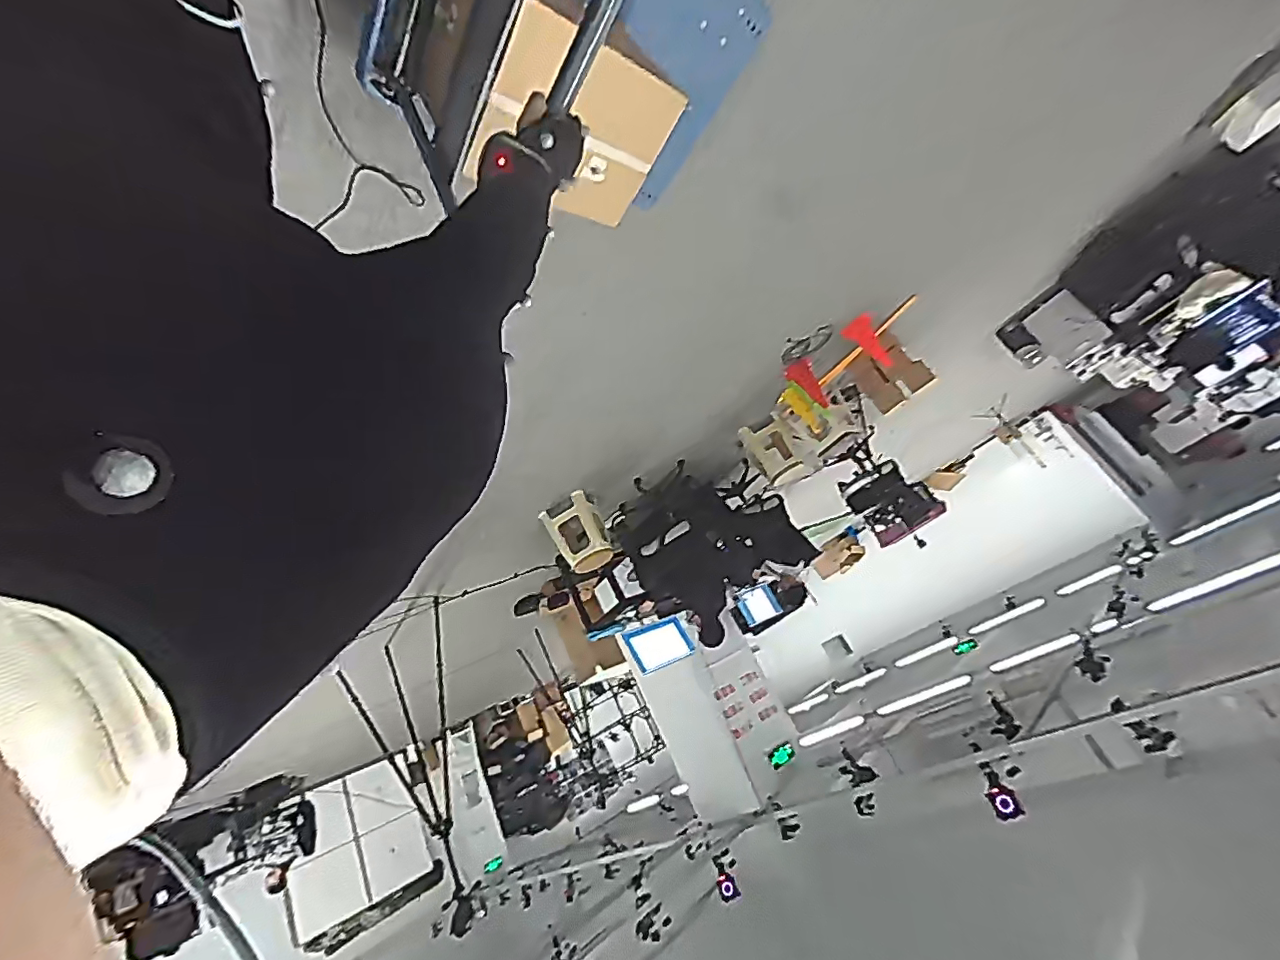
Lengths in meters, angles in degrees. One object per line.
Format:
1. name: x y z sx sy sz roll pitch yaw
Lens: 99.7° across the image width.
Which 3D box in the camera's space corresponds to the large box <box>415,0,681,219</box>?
1. large box: -0.201 -0.826 1.146 0.408 0.320 0.320 -7 150 -45
